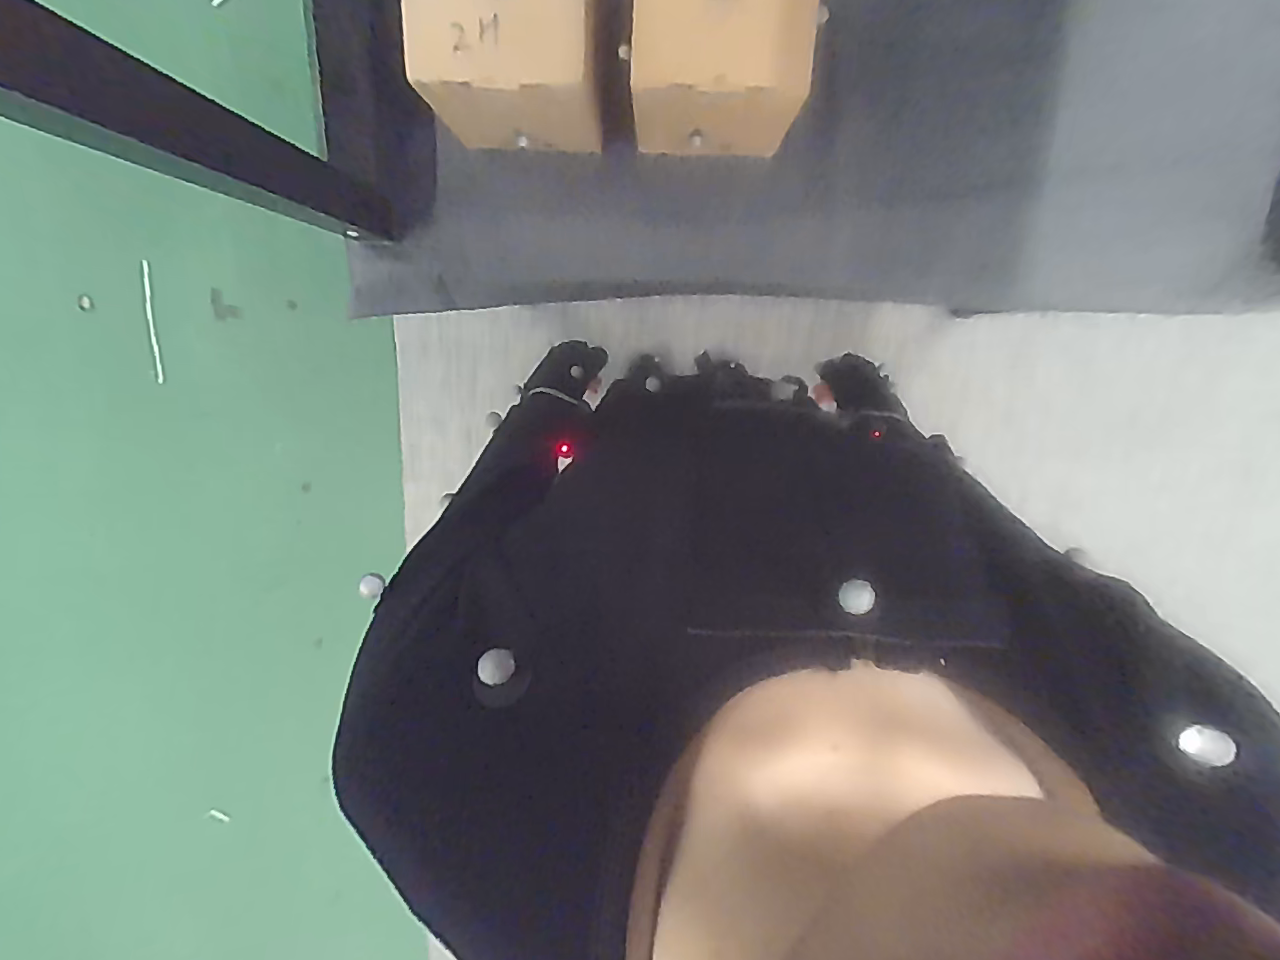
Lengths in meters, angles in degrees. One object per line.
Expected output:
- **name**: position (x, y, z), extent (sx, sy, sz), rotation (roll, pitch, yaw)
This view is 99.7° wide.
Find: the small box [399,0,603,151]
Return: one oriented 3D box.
- **small box**: position (-0.129, -0.466, 0.551), extent (0.168, 0.176, 0.179), rotation (3, 103, 2)
